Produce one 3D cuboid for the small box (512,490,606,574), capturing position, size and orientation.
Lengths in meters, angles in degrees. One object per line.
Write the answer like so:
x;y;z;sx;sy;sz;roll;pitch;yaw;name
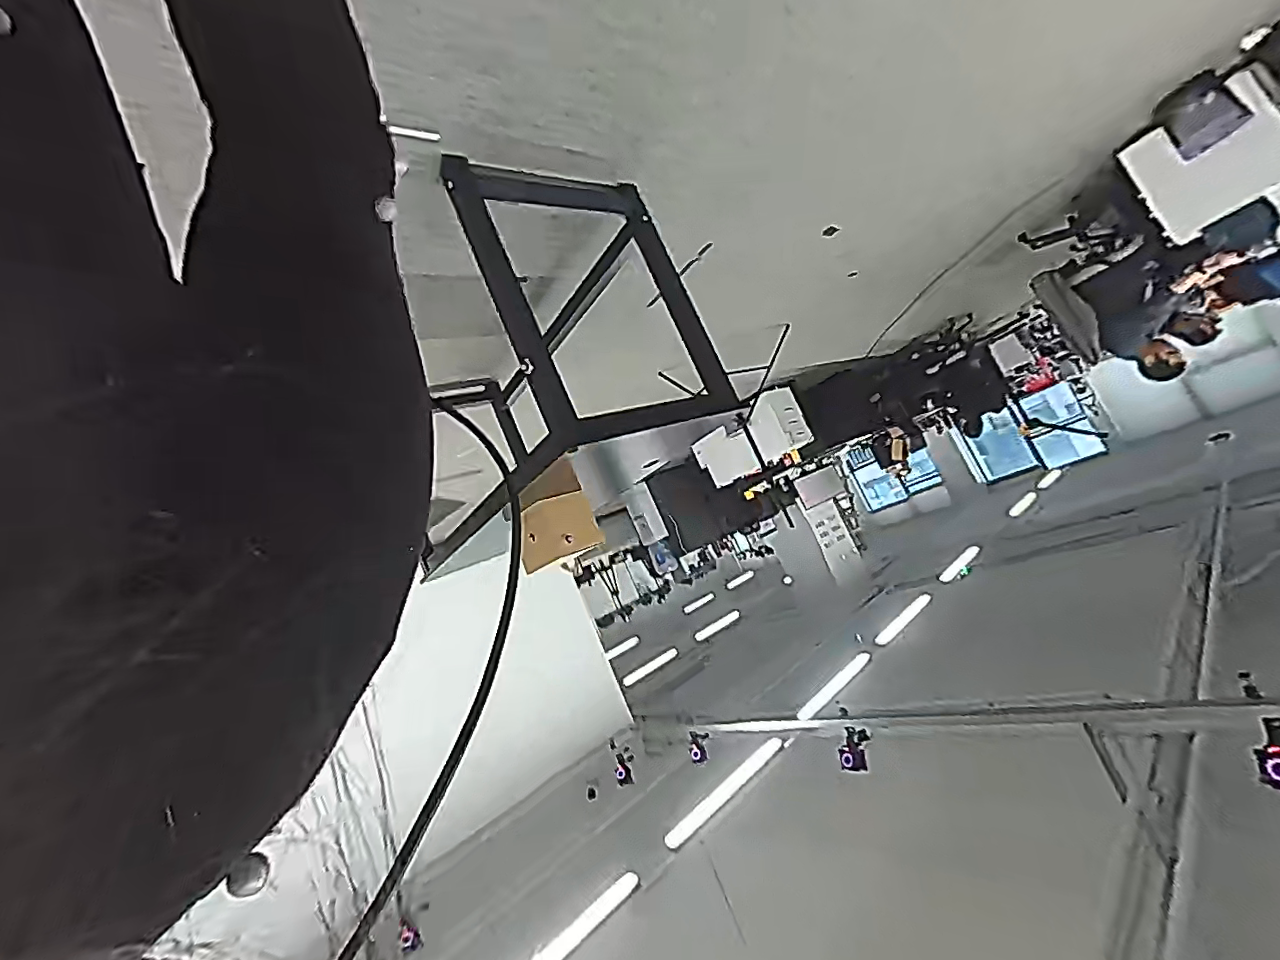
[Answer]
-0.235;0.143;1.540;0.168;0.176;0.179;-31;170;38;small box
